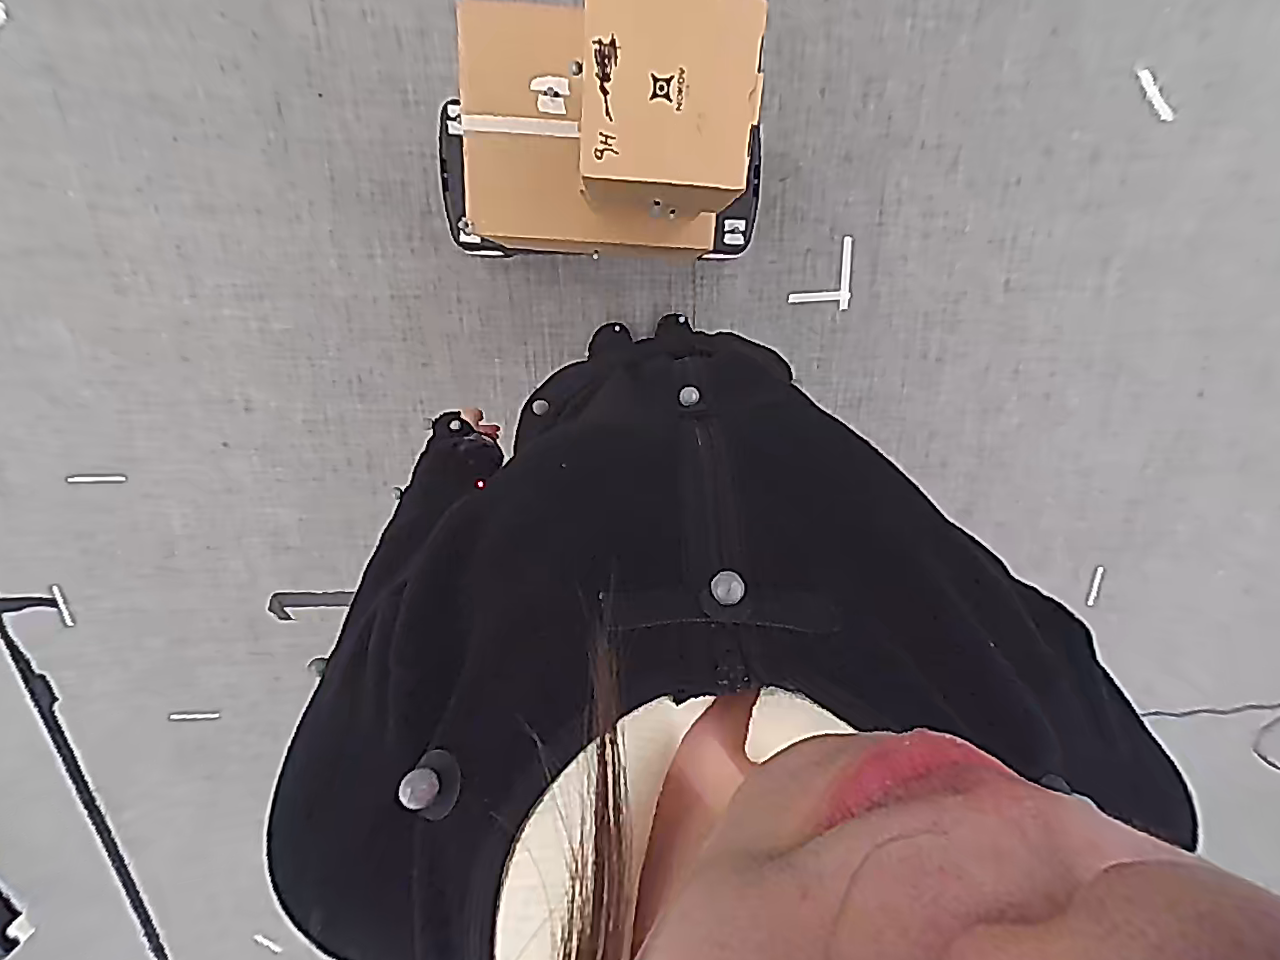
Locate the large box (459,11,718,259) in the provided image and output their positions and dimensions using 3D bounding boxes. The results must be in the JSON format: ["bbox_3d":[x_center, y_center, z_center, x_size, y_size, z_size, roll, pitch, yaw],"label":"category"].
[{"bbox_3d":[-0.071,-0.574,0.972,0.408,0.320,0.320,2,108,-2],"label":"large box"}]

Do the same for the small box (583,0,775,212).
[{"bbox_3d":[0.030,-0.405,0.602,0.179,0.176,0.168,3,108,-4],"label":"small box"}]

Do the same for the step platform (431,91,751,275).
[{"bbox_3d":[-0.099,-0.640,1.200,0.684,0.204,0.286,5,108,-3],"label":"step platform"}]
